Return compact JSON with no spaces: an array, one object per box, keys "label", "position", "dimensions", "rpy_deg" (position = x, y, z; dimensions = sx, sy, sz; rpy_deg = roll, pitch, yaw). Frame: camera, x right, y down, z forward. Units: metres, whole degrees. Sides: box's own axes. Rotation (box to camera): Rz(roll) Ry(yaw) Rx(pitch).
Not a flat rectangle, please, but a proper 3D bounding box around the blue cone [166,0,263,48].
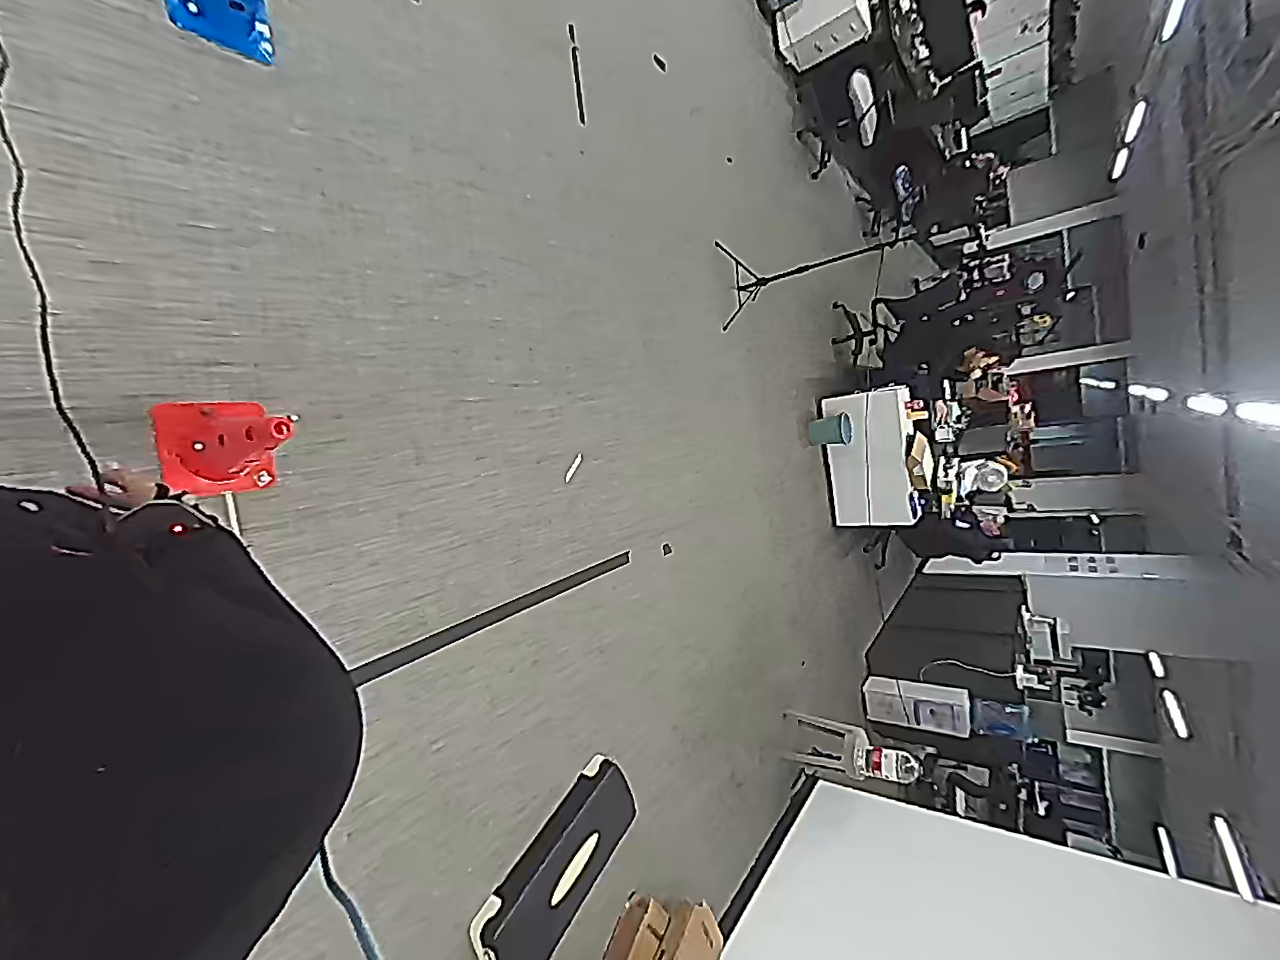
[{"label":"blue cone","position":[-0.837,-1.115,1.122],"dimensions":[0.193,0.380,0.192],"rpy_deg":[-9,93,-53]}]
